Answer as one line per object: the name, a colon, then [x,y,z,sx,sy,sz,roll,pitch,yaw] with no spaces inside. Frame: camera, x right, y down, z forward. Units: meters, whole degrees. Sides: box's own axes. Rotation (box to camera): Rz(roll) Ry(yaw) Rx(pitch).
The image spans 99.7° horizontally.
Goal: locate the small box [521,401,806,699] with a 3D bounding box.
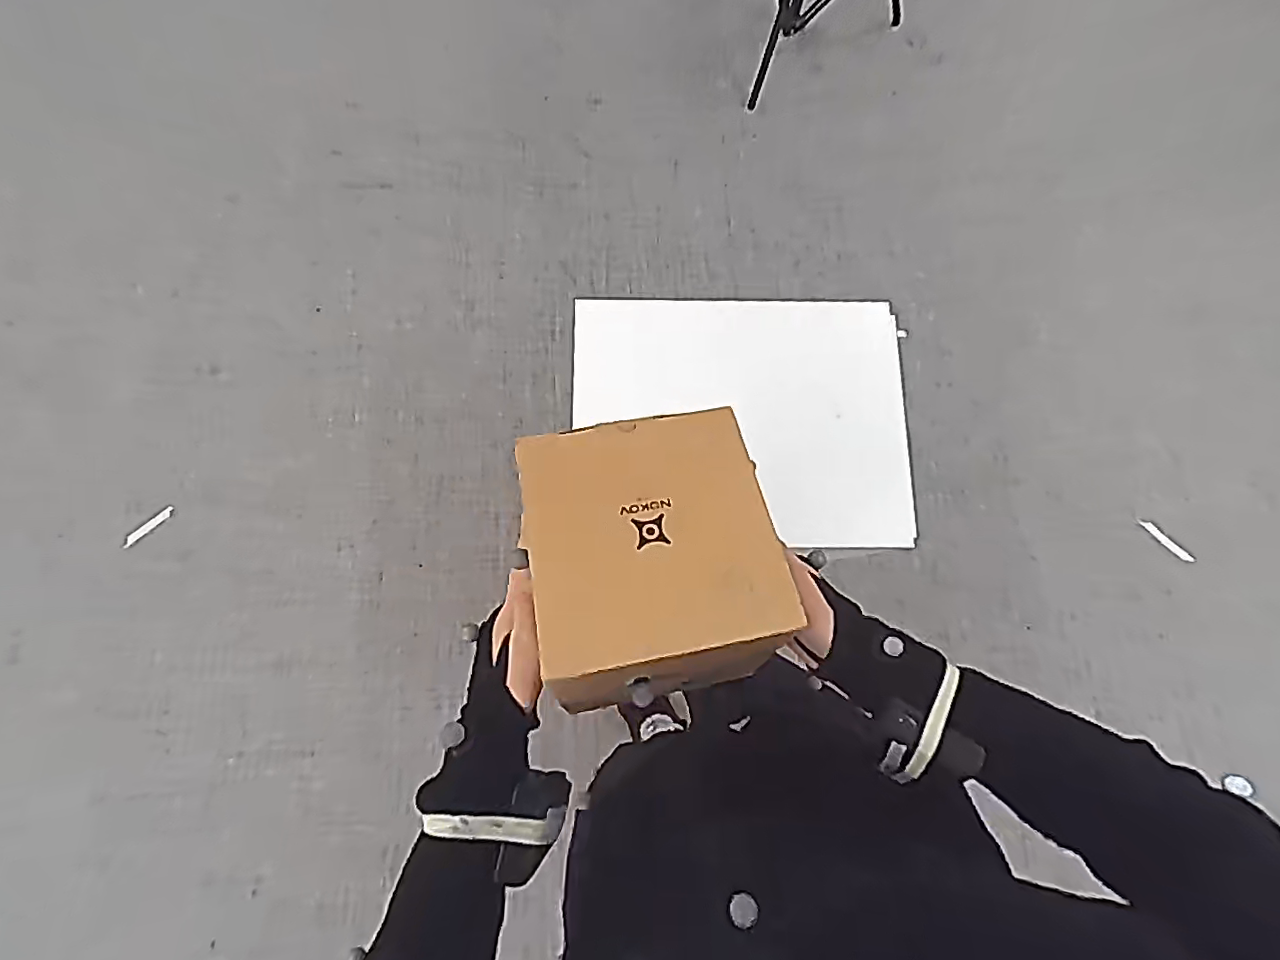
small box: [0.007,0.066,0.431,0.168,0.176,0.179,-9,60,-7]
